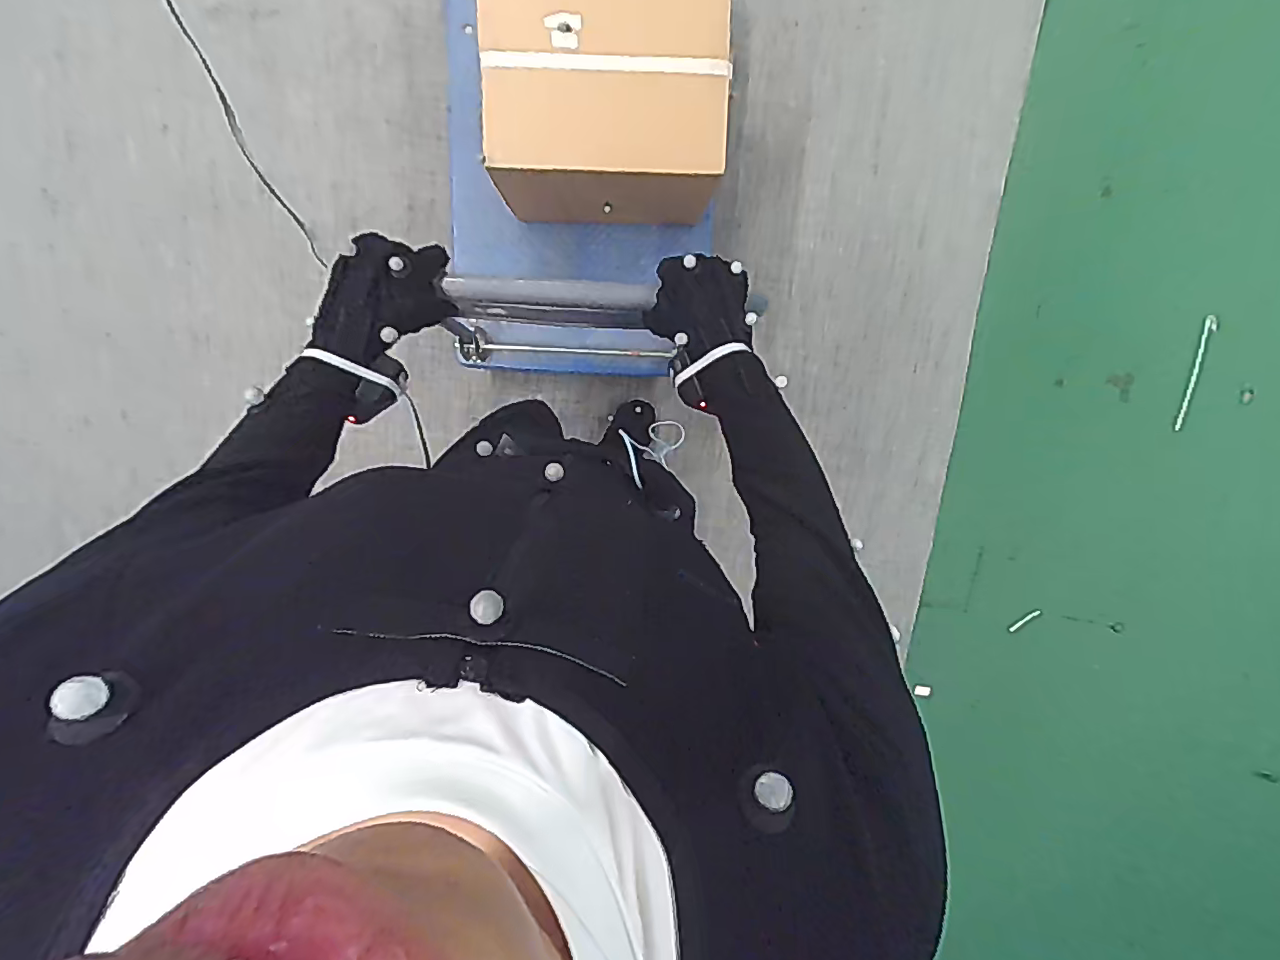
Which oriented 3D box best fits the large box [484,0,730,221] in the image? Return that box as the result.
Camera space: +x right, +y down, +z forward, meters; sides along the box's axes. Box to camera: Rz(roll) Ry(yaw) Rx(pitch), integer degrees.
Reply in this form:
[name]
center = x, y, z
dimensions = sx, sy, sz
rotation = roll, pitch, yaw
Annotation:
[large box]
center = -0.055, -0.700, 1.034
dimensions = 0.408, 0.320, 0.320
rotation = 1, 100, -1
